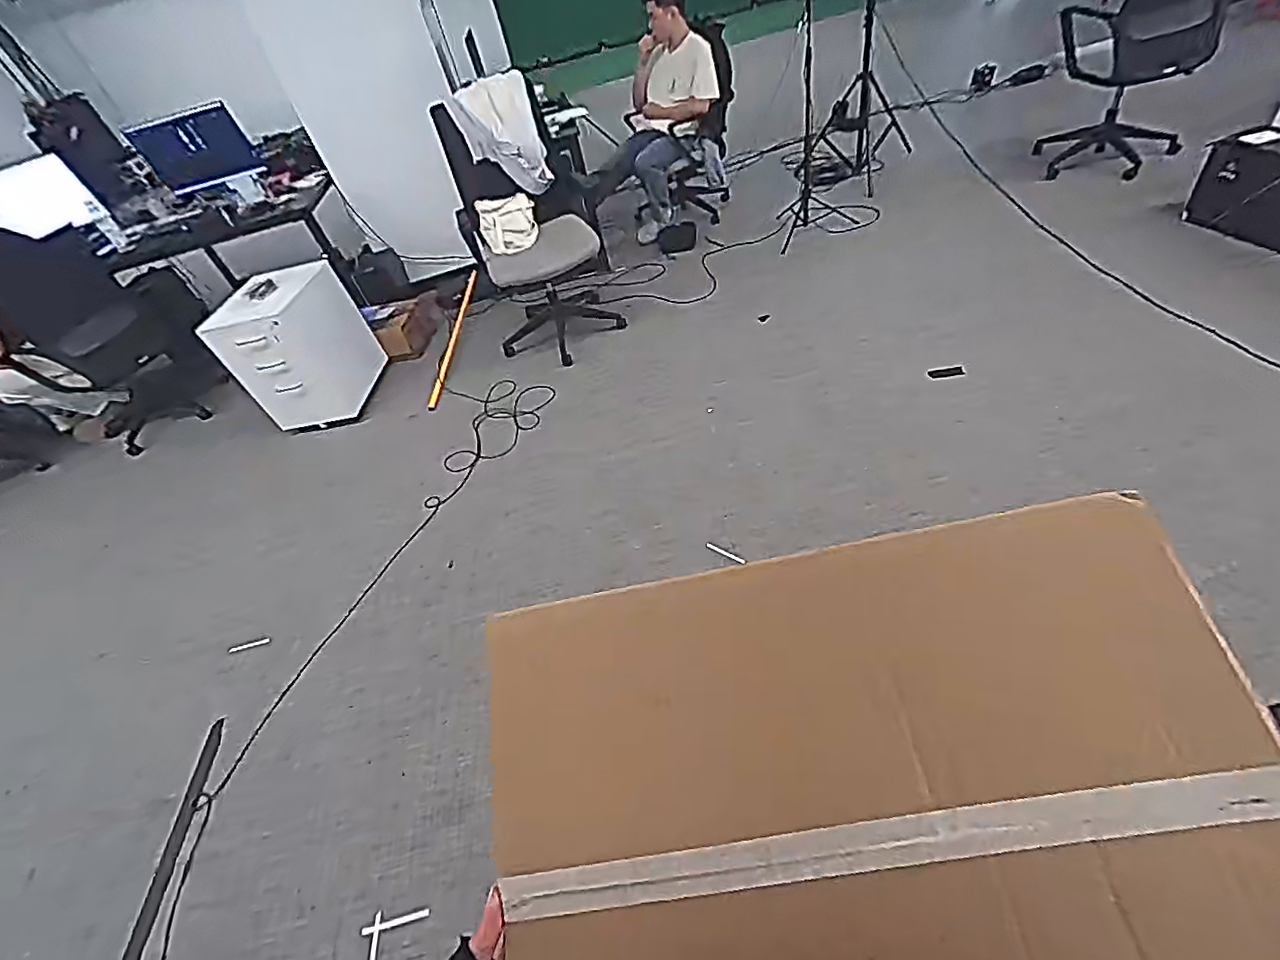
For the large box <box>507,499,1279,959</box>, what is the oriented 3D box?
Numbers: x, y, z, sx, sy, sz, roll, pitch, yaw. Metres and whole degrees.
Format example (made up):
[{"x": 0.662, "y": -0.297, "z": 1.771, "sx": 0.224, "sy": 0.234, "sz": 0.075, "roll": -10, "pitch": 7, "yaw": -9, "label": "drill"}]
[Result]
[{"x": 0.150, "y": 0.246, "z": 0.426, "sx": 0.408, "sy": 0.320, "sz": 0.320, "roll": -12, "pitch": 68, "yaw": 7, "label": "large box"}]
